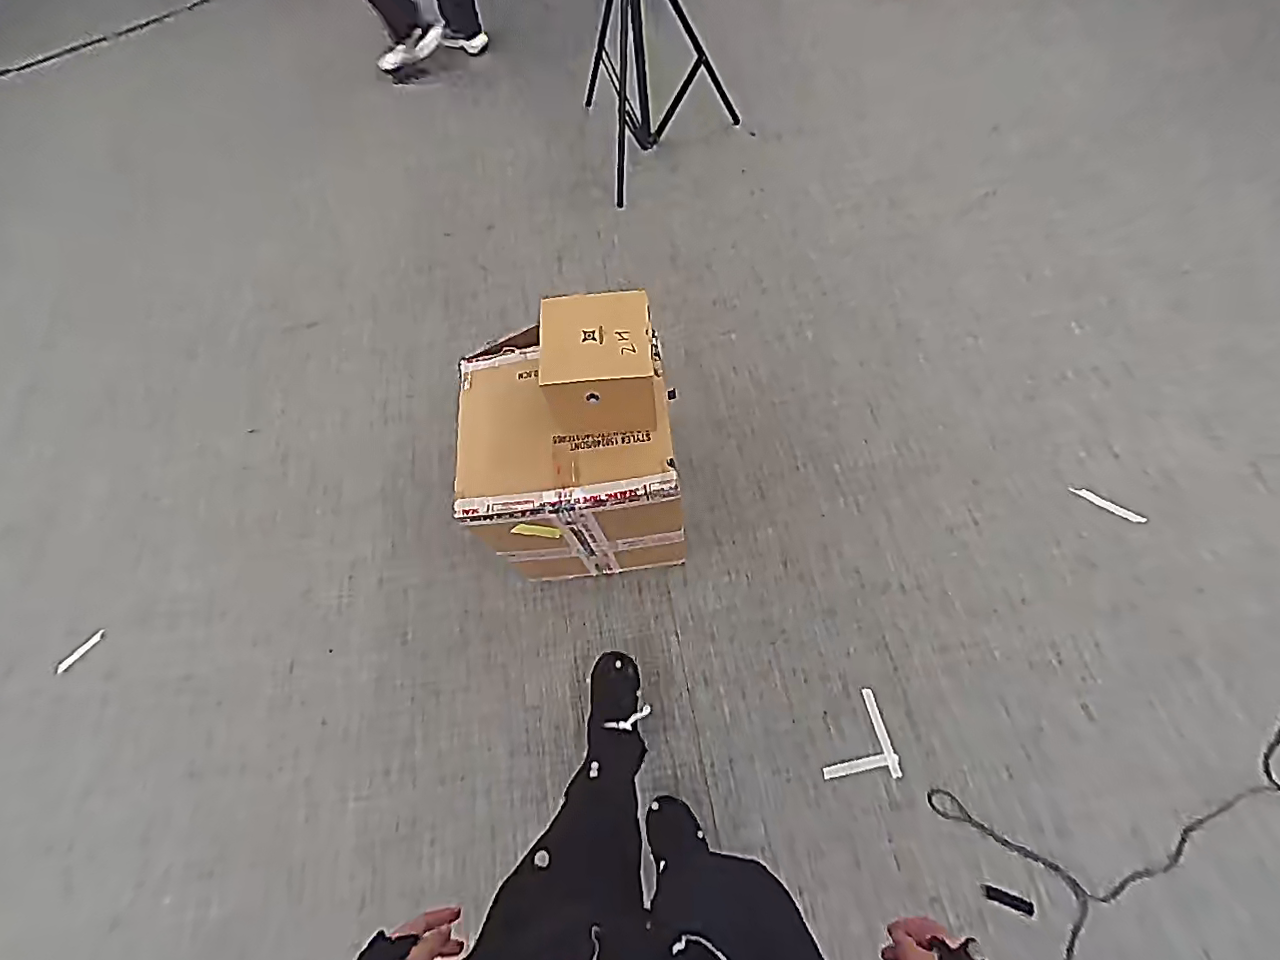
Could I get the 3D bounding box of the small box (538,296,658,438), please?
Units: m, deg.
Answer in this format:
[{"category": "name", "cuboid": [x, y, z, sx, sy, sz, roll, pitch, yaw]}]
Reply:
[{"category": "small box", "cuboid": [-0.064, -0.181, 0.907, 0.179, 0.176, 0.168, -4, 67, 2]}]
